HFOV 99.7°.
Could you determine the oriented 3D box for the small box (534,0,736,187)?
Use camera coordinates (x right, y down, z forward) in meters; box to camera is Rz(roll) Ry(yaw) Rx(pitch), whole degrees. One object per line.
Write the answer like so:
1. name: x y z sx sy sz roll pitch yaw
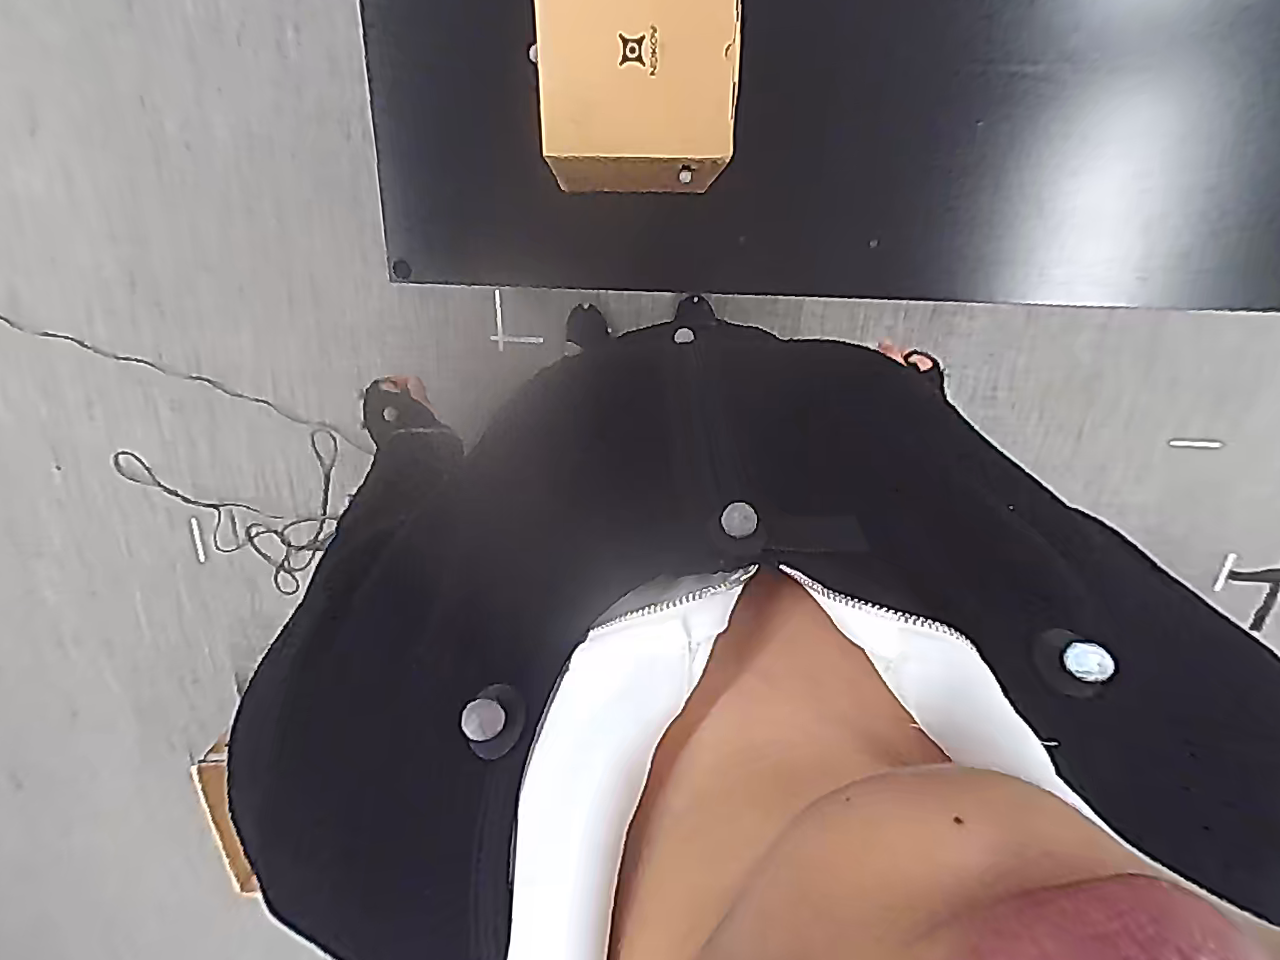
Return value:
1. small box: -0.007 -0.405 0.549 0.179 0.176 0.168 -1 109 -3
